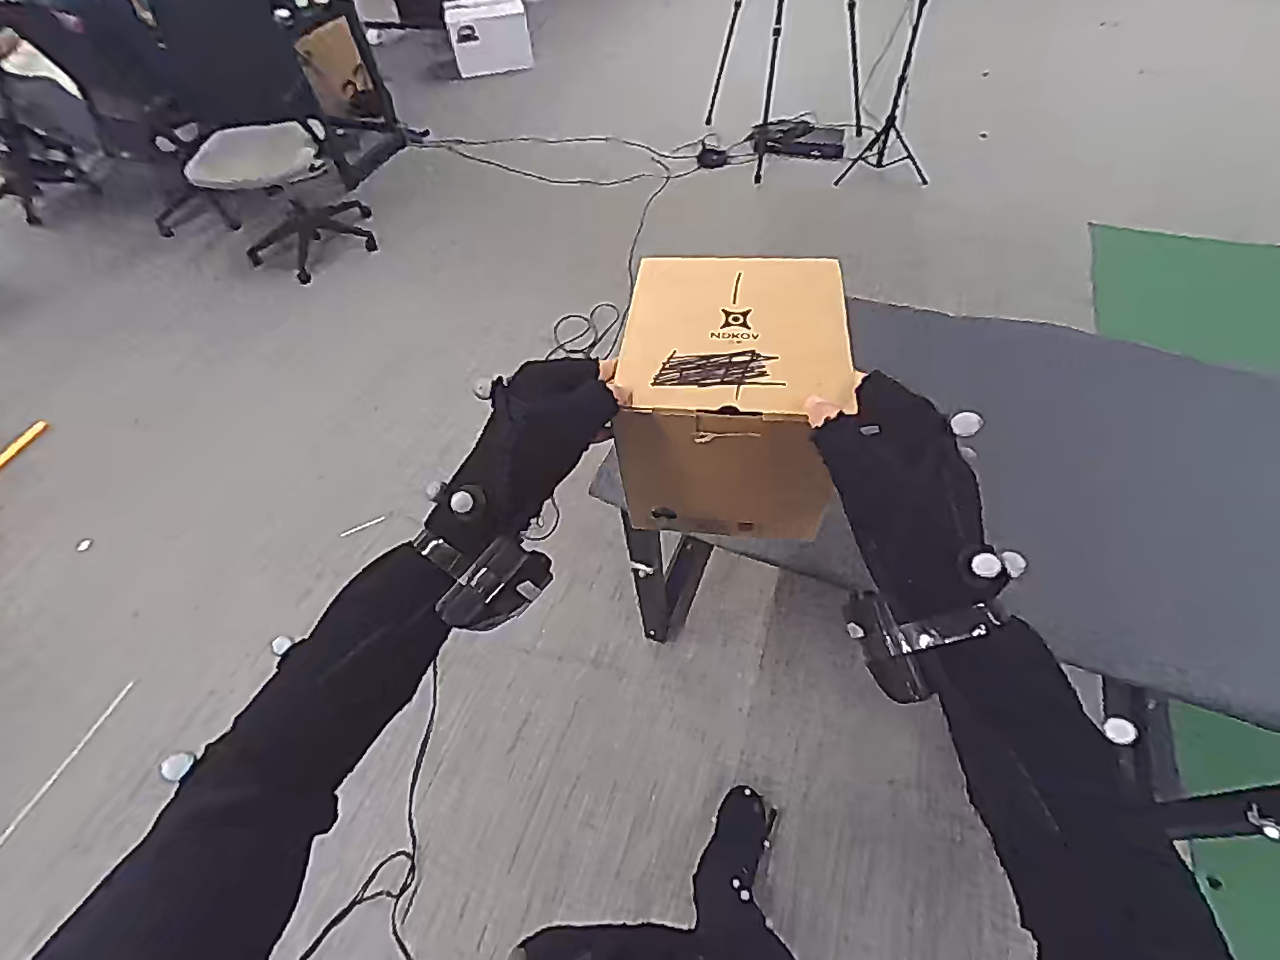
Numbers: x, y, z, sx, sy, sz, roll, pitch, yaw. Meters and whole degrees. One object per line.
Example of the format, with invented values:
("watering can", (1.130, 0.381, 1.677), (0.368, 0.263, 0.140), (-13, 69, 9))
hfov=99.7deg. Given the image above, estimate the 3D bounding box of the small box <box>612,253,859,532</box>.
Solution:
("small box", (0.080, -0.071, 0.467), (0.168, 0.176, 0.179), (4, 55, 8))
